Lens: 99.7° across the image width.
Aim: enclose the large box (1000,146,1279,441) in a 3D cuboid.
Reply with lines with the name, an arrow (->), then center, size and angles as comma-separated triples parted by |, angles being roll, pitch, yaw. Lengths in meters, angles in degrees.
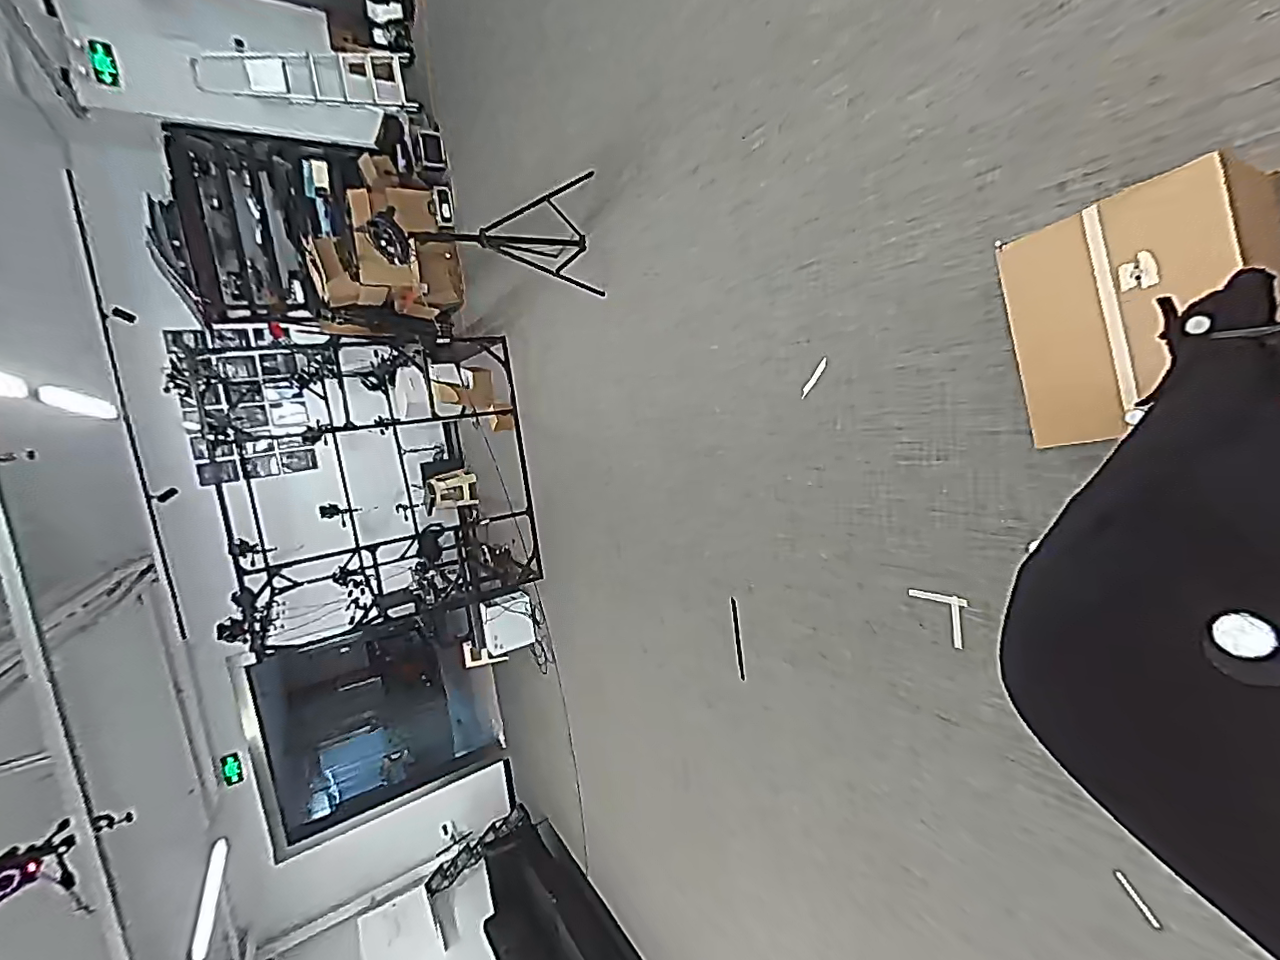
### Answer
large box -> 0.944, -0.309, 0.995 | 0.320, 0.320, 0.408 | -12, 89, 59
